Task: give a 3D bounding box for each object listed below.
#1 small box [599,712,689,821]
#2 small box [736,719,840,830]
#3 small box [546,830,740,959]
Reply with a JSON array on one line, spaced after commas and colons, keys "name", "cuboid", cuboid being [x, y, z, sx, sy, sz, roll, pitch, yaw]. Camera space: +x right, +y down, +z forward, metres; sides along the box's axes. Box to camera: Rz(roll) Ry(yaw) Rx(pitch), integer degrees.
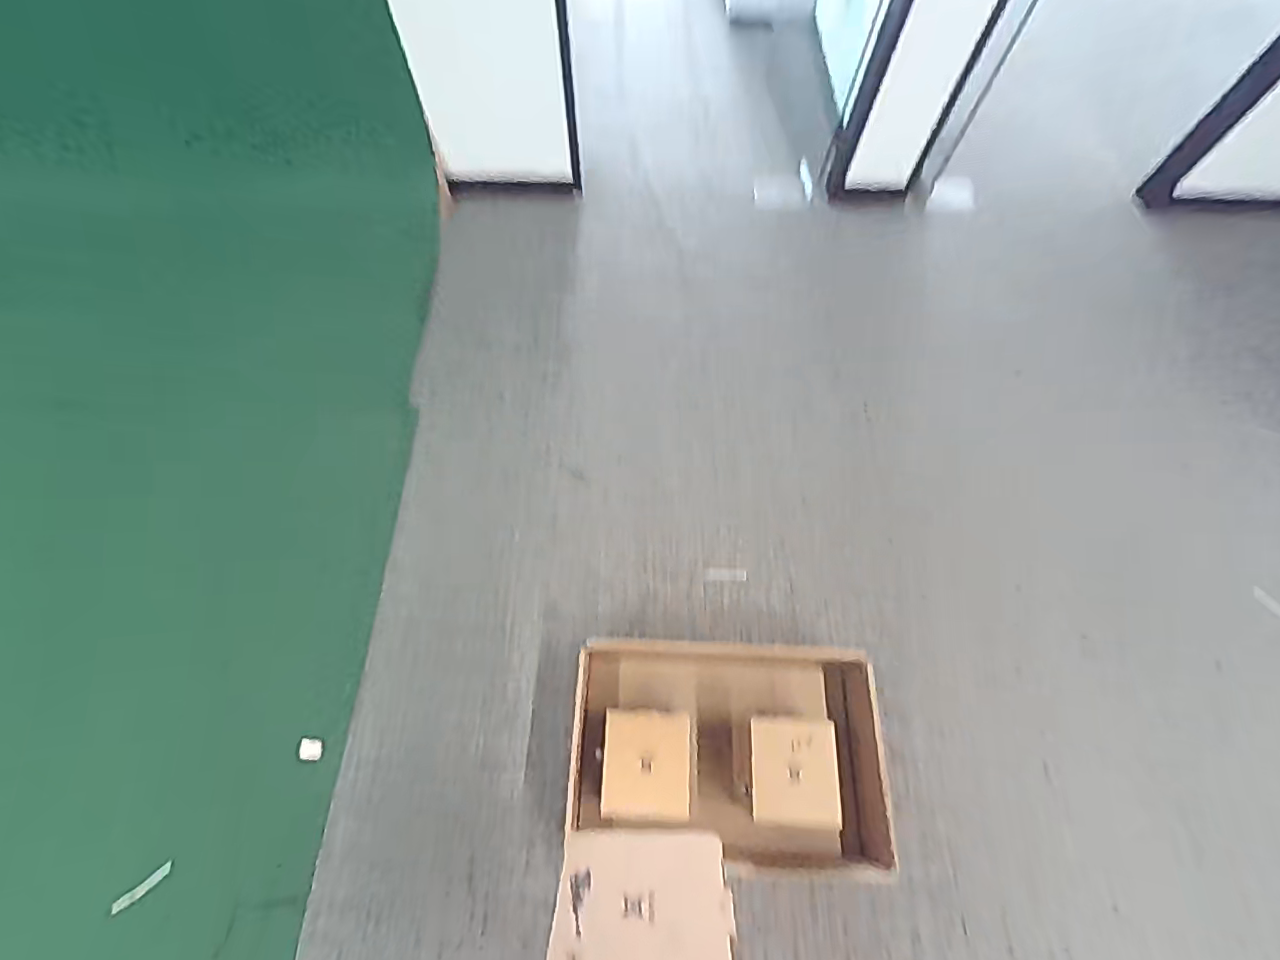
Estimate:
[{"name": "small box", "cuboid": [0.009, 0.574, 1.093, 0.168, 0.176, 0.179, 3, 63, 0]}, {"name": "small box", "cuboid": [0.291, 0.587, 1.093, 0.168, 0.176, 0.179, 4, 64, 1]}, {"name": "small box", "cuboid": [0.003, 0.495, 0.546, 0.179, 0.168, 0.176, 1, 106, 2]}]
